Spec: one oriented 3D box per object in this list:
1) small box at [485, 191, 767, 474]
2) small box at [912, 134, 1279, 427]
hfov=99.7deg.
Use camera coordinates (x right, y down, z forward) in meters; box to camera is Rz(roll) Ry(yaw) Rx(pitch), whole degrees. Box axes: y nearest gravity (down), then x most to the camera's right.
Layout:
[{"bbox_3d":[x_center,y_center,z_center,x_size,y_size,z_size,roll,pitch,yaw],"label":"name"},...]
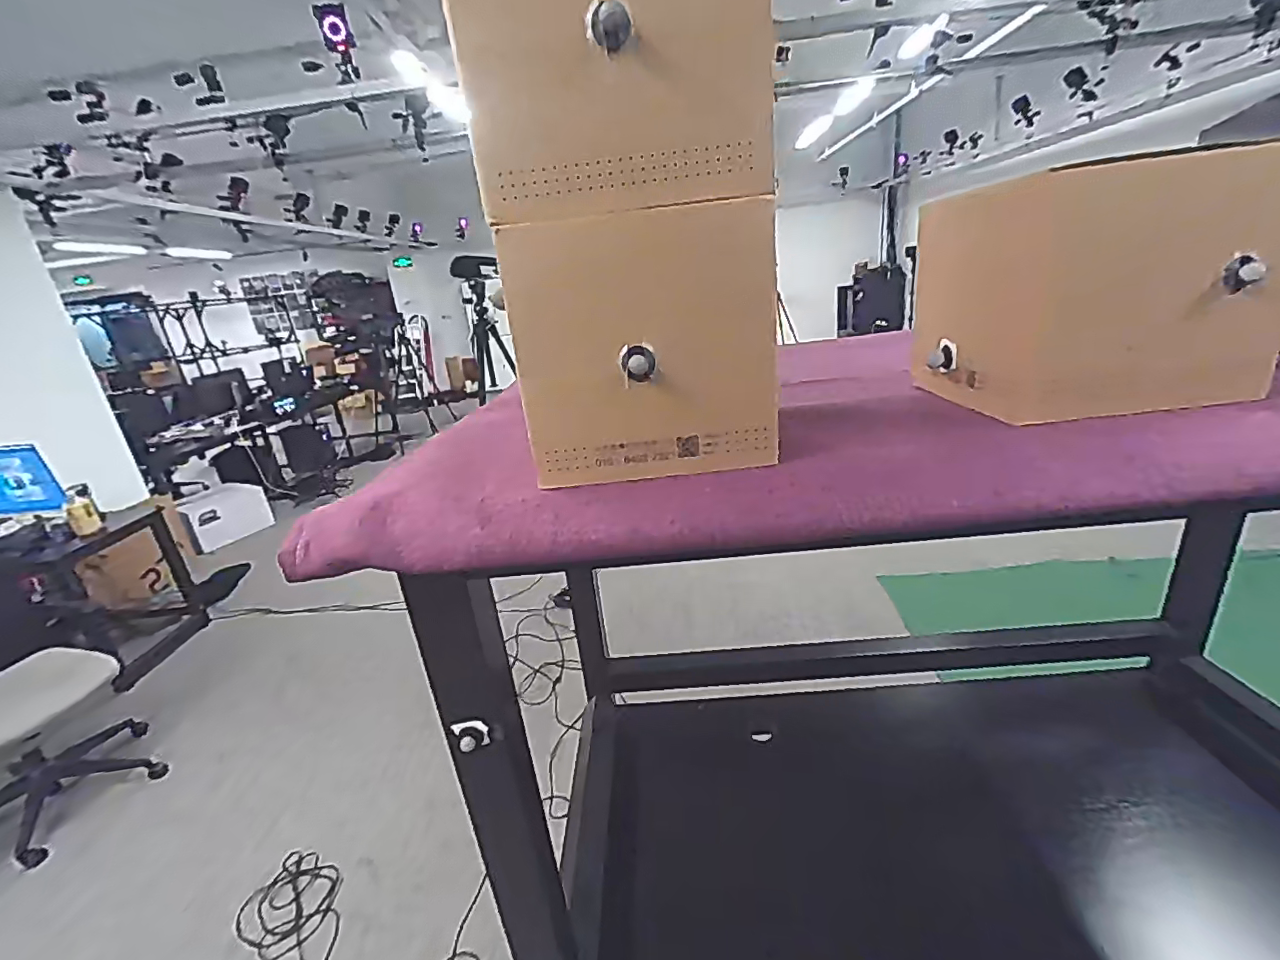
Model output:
[{"bbox_3d":[-0.002,-0.107,0.413,0.168,0.176,0.179,-5,21,1],"label":"small box"},{"bbox_3d":[0.338,-0.150,0.425,0.179,0.176,0.168,-7,20,2],"label":"small box"}]
